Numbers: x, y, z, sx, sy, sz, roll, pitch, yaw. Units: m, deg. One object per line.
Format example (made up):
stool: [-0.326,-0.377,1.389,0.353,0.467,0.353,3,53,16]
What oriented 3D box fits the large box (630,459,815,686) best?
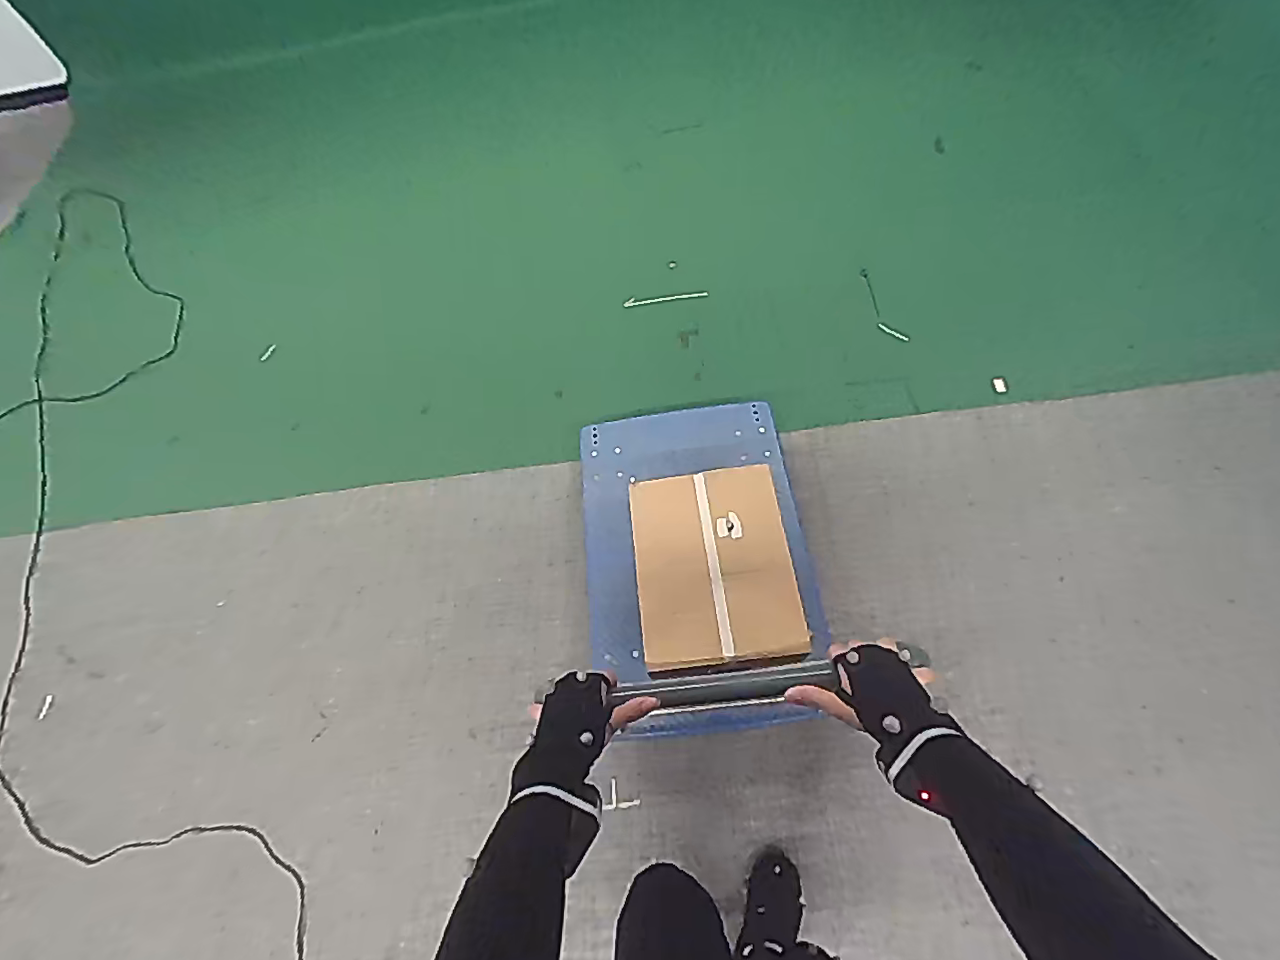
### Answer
large box: [0.170,0.219,1.222,0.320,0.320,0.408,-8,62,3]
